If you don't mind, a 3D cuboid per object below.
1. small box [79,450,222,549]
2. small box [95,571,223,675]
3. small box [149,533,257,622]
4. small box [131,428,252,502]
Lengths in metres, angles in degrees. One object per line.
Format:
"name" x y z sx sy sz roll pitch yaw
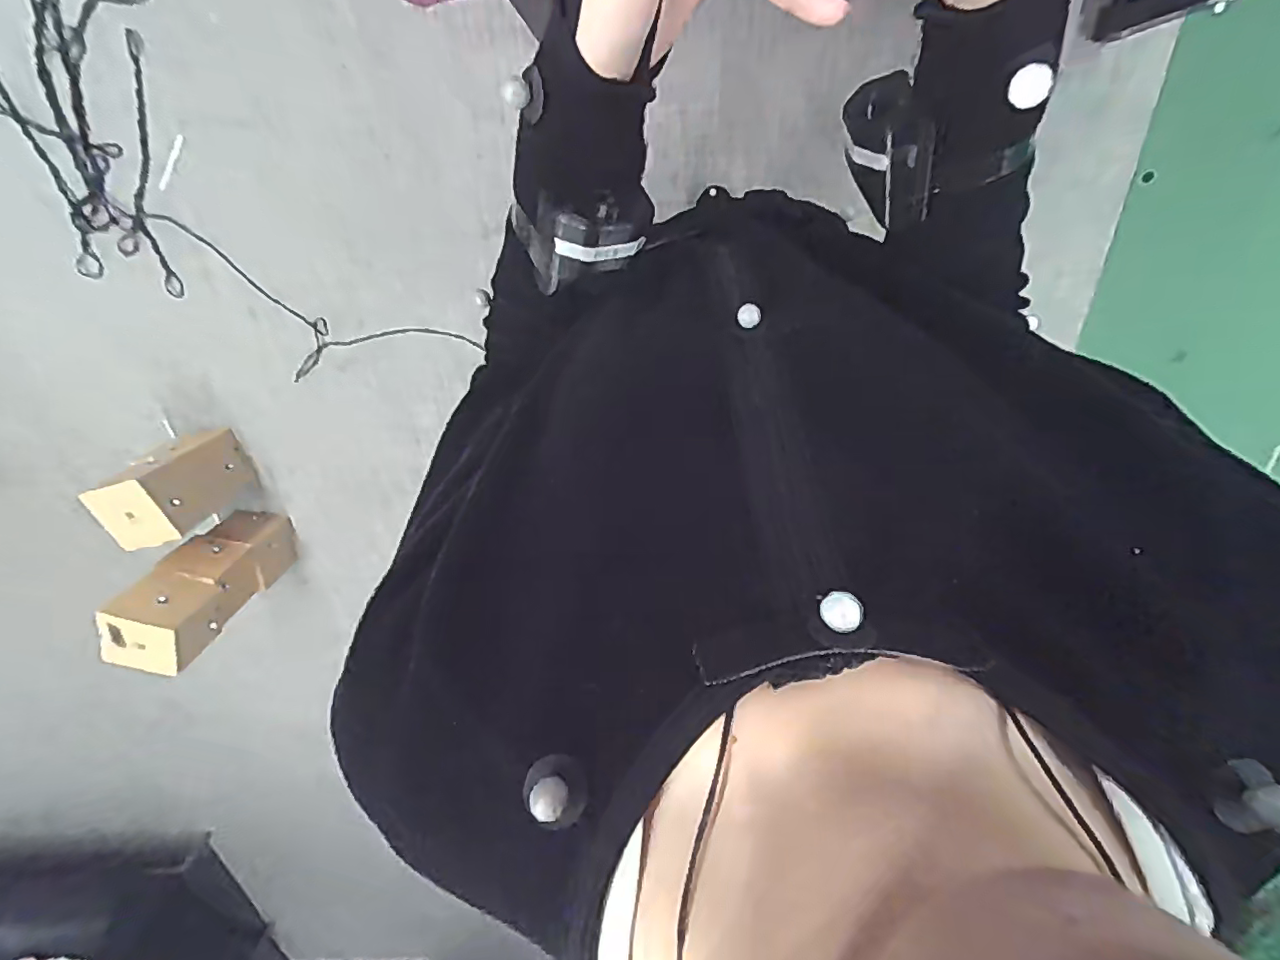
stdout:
"small box" -1.235 0.047 1.383 0.168 0.176 0.179 -13 117 7
"small box" -1.199 0.353 1.360 0.179 0.176 0.168 17 116 -8
"small box" -1.204 0.277 1.505 0.168 0.176 0.179 13 116 -5
"small box" -1.246 -0.034 1.524 0.179 0.176 0.168 -9 117 6
